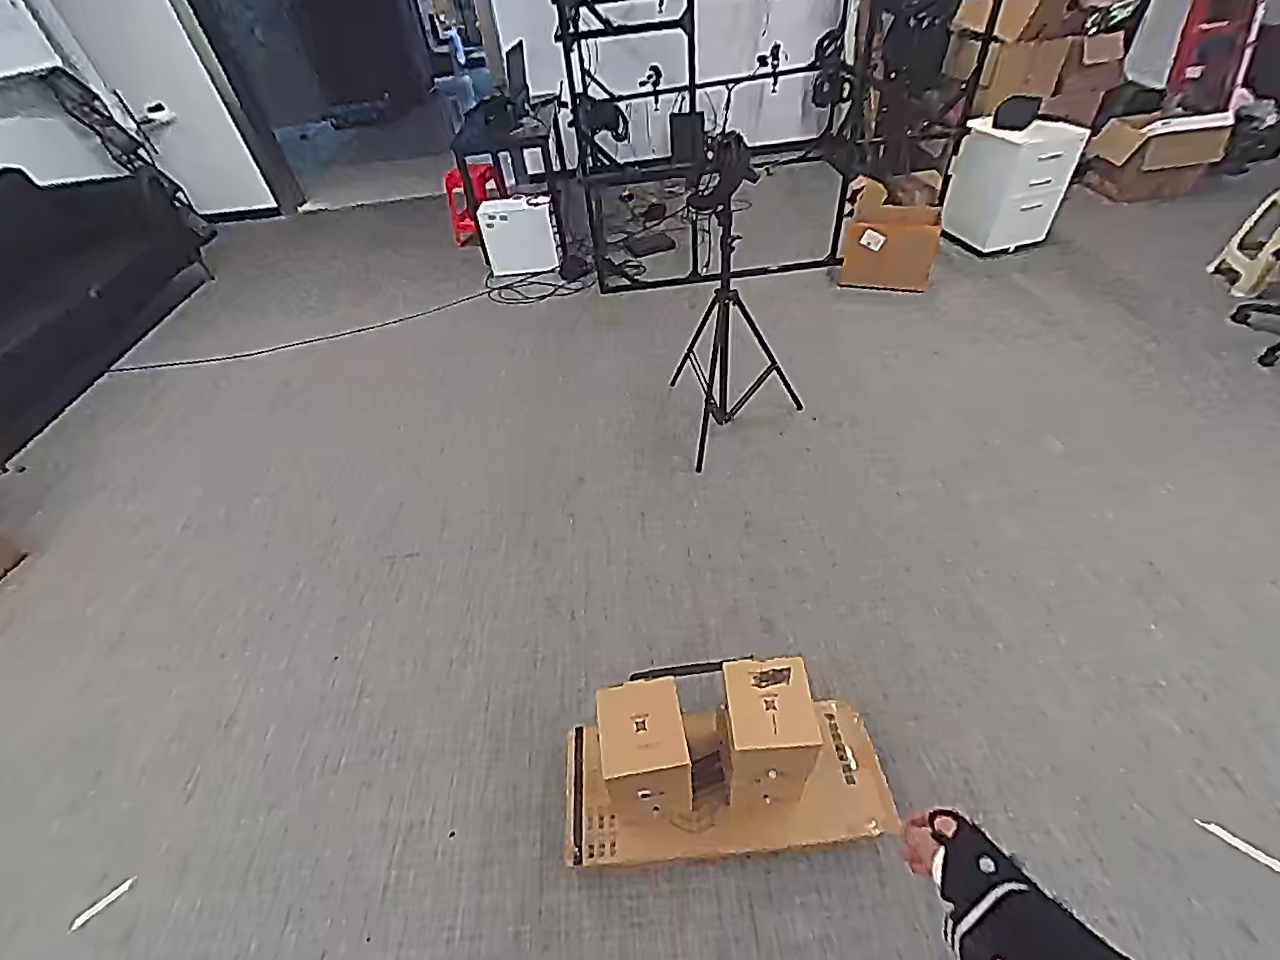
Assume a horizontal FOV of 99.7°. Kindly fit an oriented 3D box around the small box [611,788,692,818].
[{"bbox_3d":[0.022,0.646,1.225,0.168,0.176,0.179,-8,45,-1],"label":"small box"}]

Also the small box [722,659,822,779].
[{"bbox_3d":[0.262,0.492,1.115,0.168,0.176,0.179,-5,45,3],"label":"small box"}]

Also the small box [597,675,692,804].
[{"bbox_3d":[0.009,0.531,1.108,0.168,0.176,0.179,-10,45,-3],"label":"small box"}]

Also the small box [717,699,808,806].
[{"bbox_3d":[0.268,0.612,1.228,0.168,0.176,0.179,-8,44,1],"label":"small box"}]
